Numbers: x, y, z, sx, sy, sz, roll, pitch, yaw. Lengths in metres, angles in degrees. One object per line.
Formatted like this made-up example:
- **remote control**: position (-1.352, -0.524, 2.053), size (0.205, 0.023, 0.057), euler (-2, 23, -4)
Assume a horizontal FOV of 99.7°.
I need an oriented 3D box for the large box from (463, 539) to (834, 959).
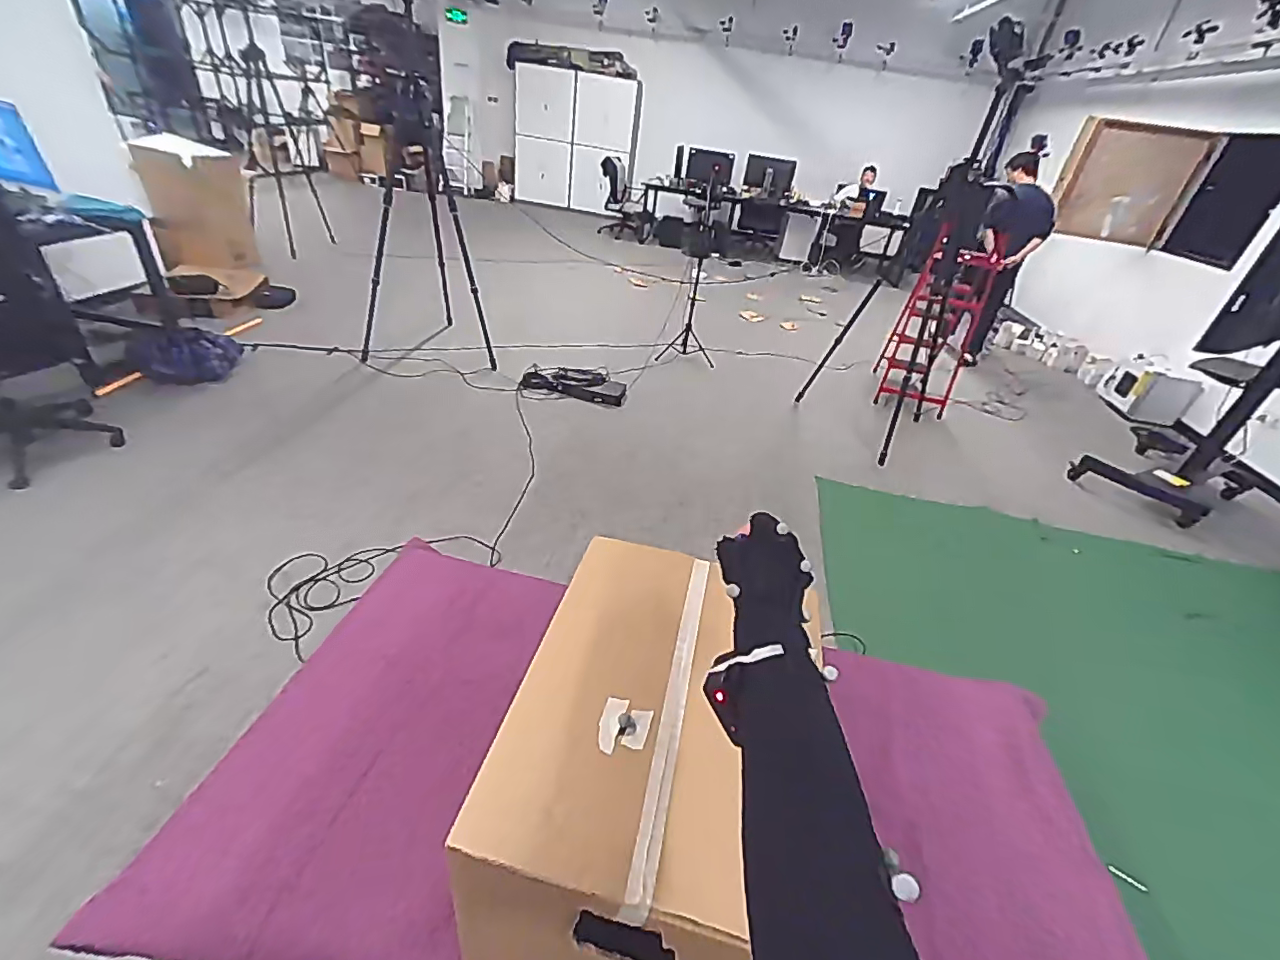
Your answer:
- **large box**: position (0.020, 0.344, 0.670), size (0.320, 0.320, 0.408), euler (14, 35, 6)
